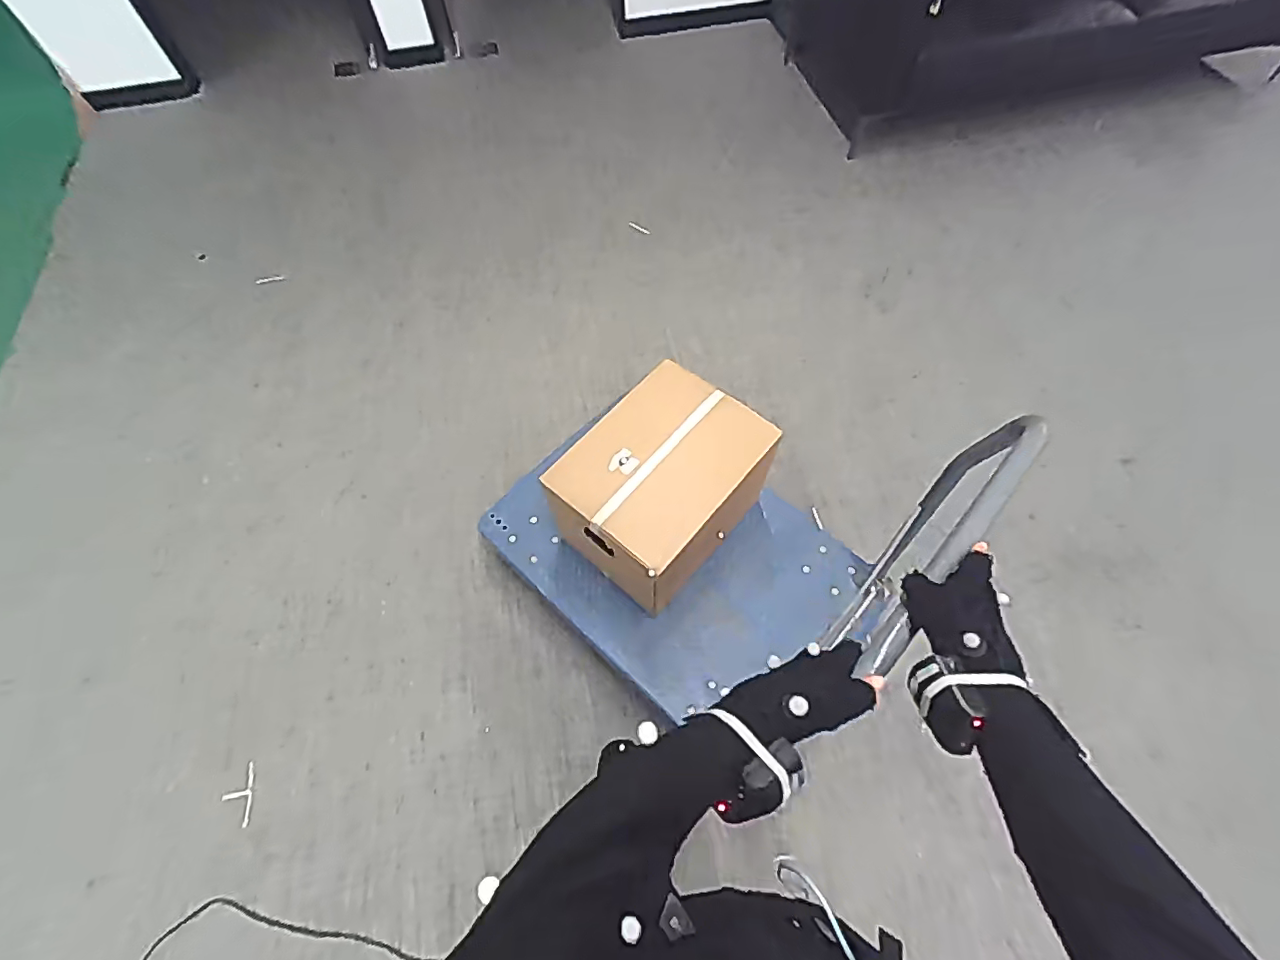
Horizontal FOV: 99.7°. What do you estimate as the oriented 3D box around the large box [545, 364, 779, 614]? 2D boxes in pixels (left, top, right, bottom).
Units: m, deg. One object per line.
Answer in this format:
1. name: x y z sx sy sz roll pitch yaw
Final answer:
1. large box: 0.055 0.027 1.227 0.320 0.320 0.408 36 70 20
